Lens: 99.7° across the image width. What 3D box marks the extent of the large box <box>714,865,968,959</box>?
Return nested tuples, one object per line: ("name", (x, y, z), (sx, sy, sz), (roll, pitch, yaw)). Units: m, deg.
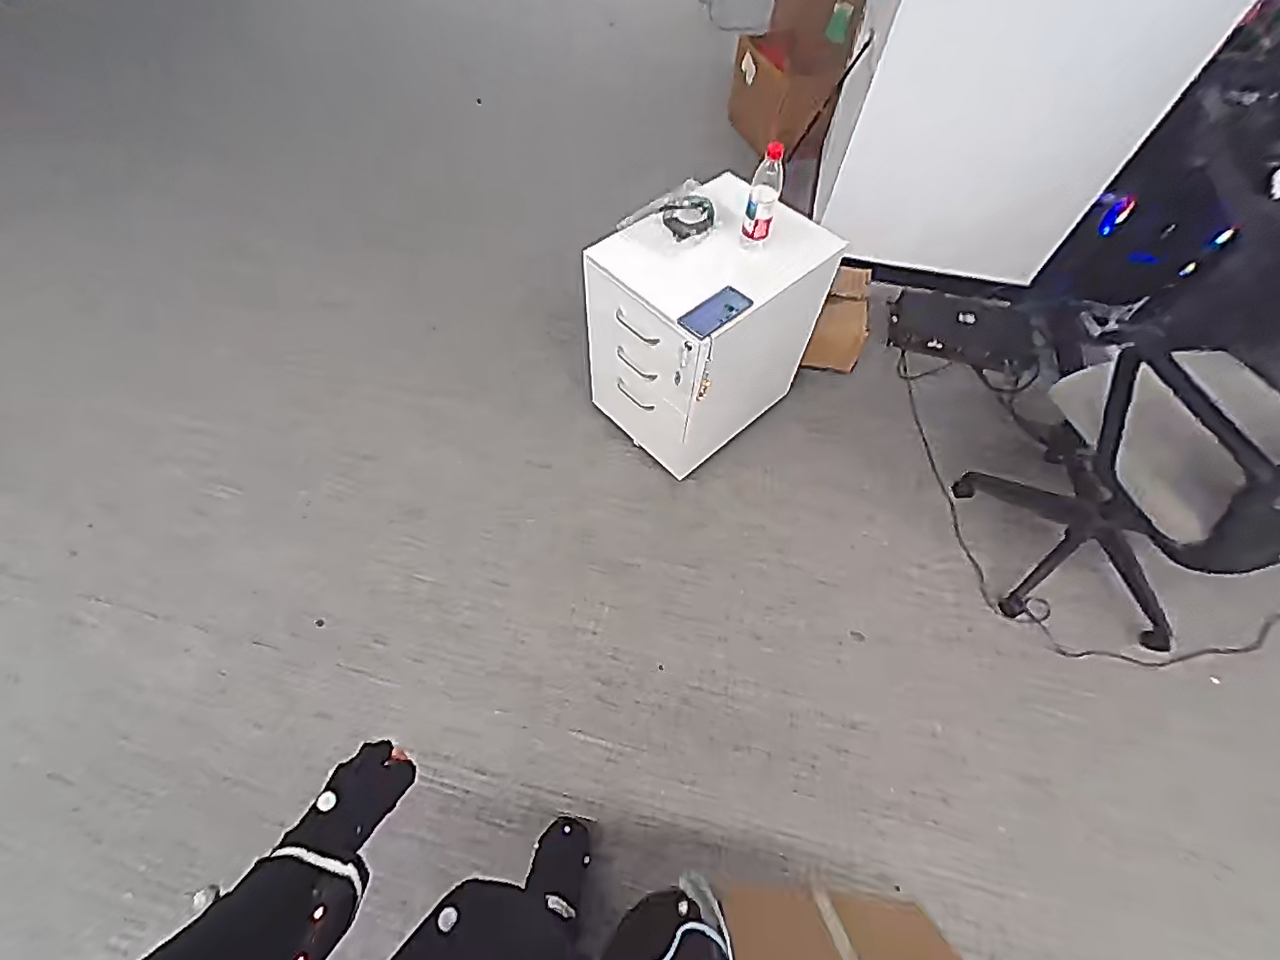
("large box", (0.259, 0.749, 0.646), (0.320, 0.408, 0.320), (2, 82, 3))
